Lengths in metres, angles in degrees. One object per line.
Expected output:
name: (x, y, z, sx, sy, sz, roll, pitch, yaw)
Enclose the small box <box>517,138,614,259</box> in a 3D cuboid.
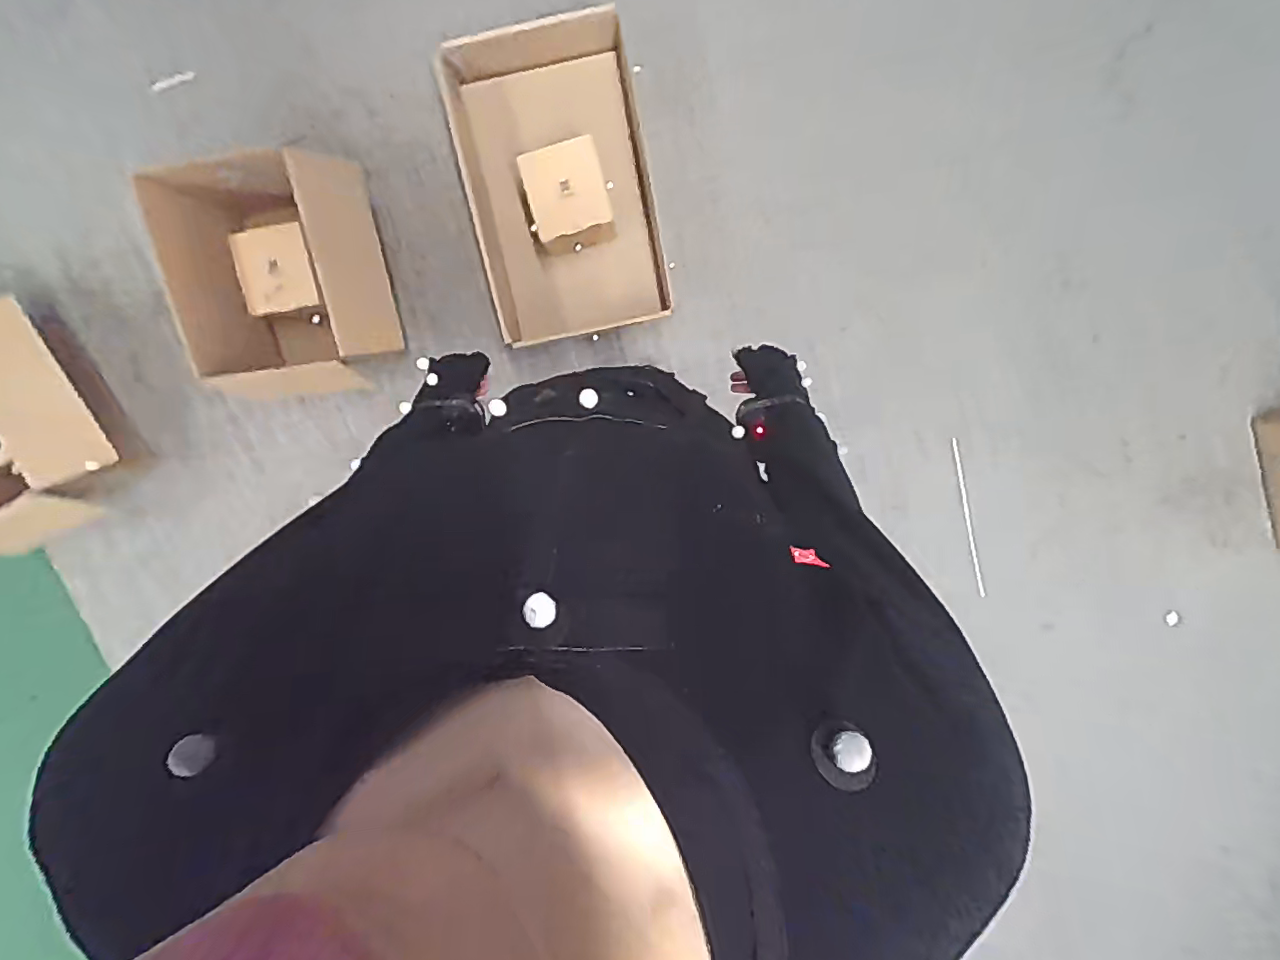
small box: (-0.159, -0.621, 1.213, 0.168, 0.176, 0.179, -16, 102, 2)
